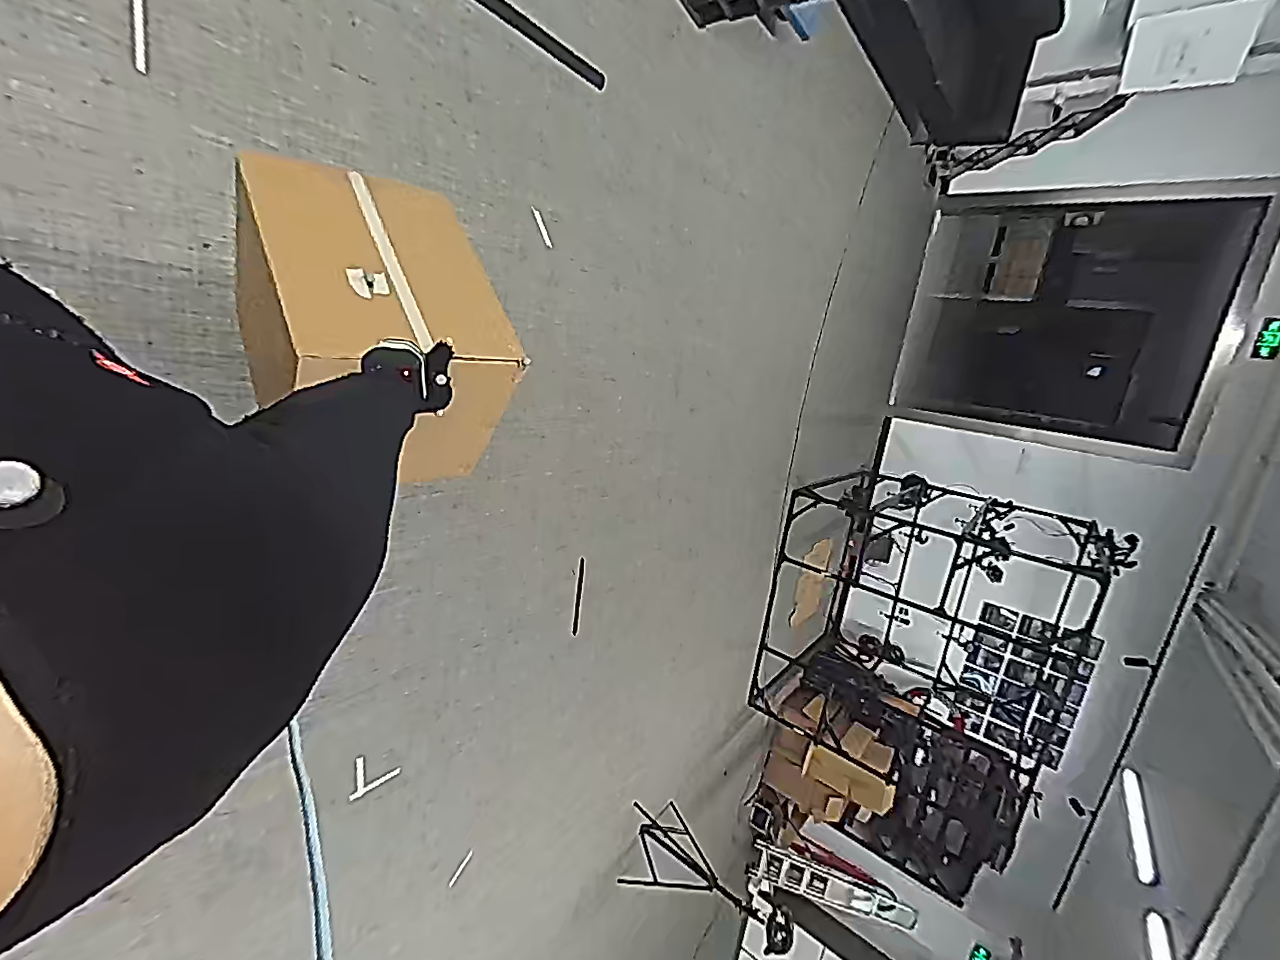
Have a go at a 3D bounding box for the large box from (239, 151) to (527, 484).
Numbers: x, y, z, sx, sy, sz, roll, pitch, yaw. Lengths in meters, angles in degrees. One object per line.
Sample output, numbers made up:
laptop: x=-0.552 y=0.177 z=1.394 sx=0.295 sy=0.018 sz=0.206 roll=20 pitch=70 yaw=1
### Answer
large box: x=-0.454 y=-0.252 z=0.920 sx=0.320 sy=0.408 sz=0.320 roll=-9 pitch=155 yaw=-41
